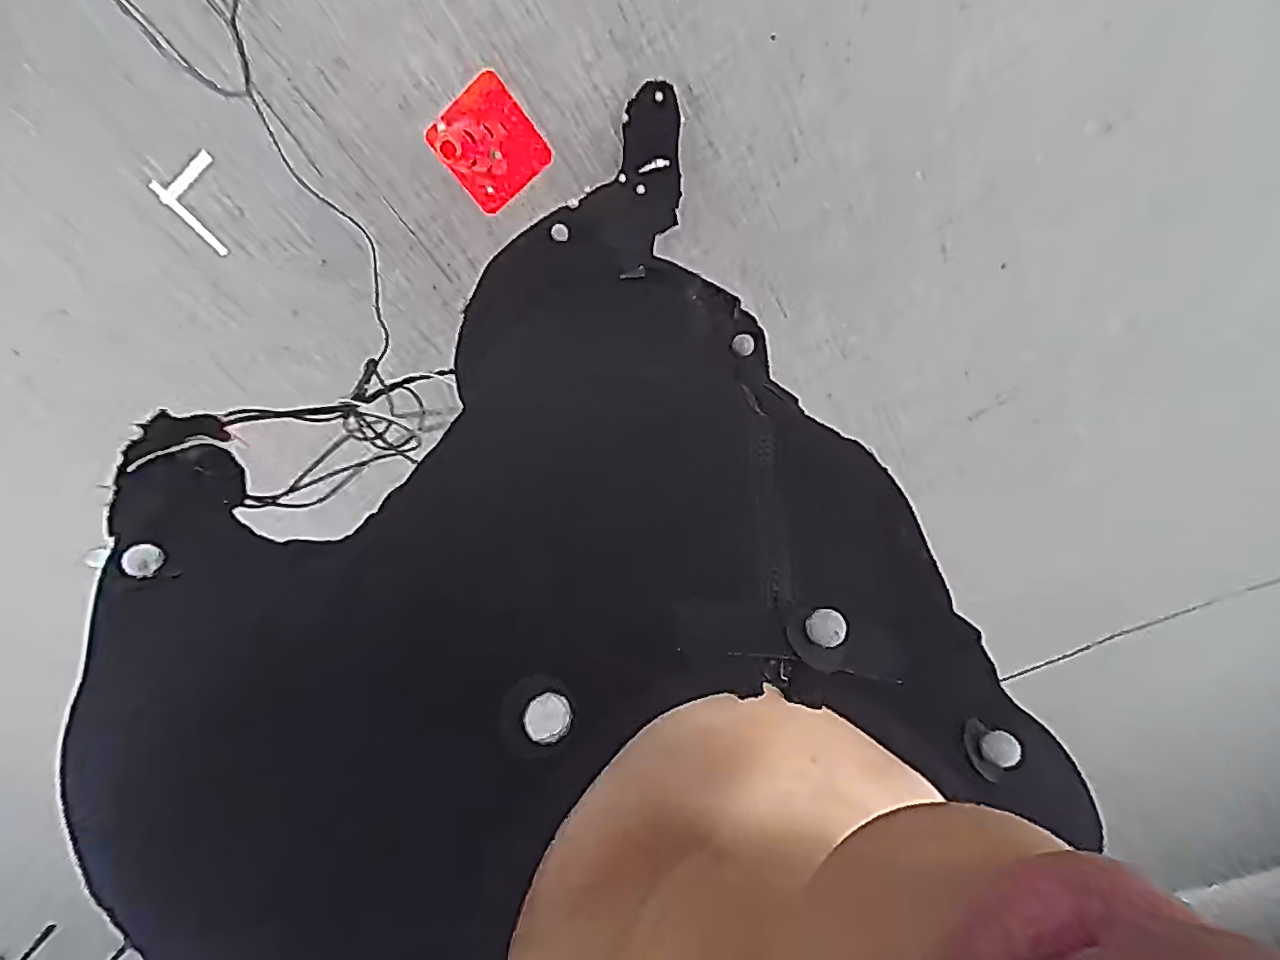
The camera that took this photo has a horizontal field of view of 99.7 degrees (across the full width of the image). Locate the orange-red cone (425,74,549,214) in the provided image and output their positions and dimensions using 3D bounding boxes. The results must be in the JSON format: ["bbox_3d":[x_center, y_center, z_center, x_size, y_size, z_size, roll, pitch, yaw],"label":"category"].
[{"bbox_3d":[-0.306,-0.606,0.987,0.199,0.360,0.198,-33,119,15],"label":"orange-red cone"}]
